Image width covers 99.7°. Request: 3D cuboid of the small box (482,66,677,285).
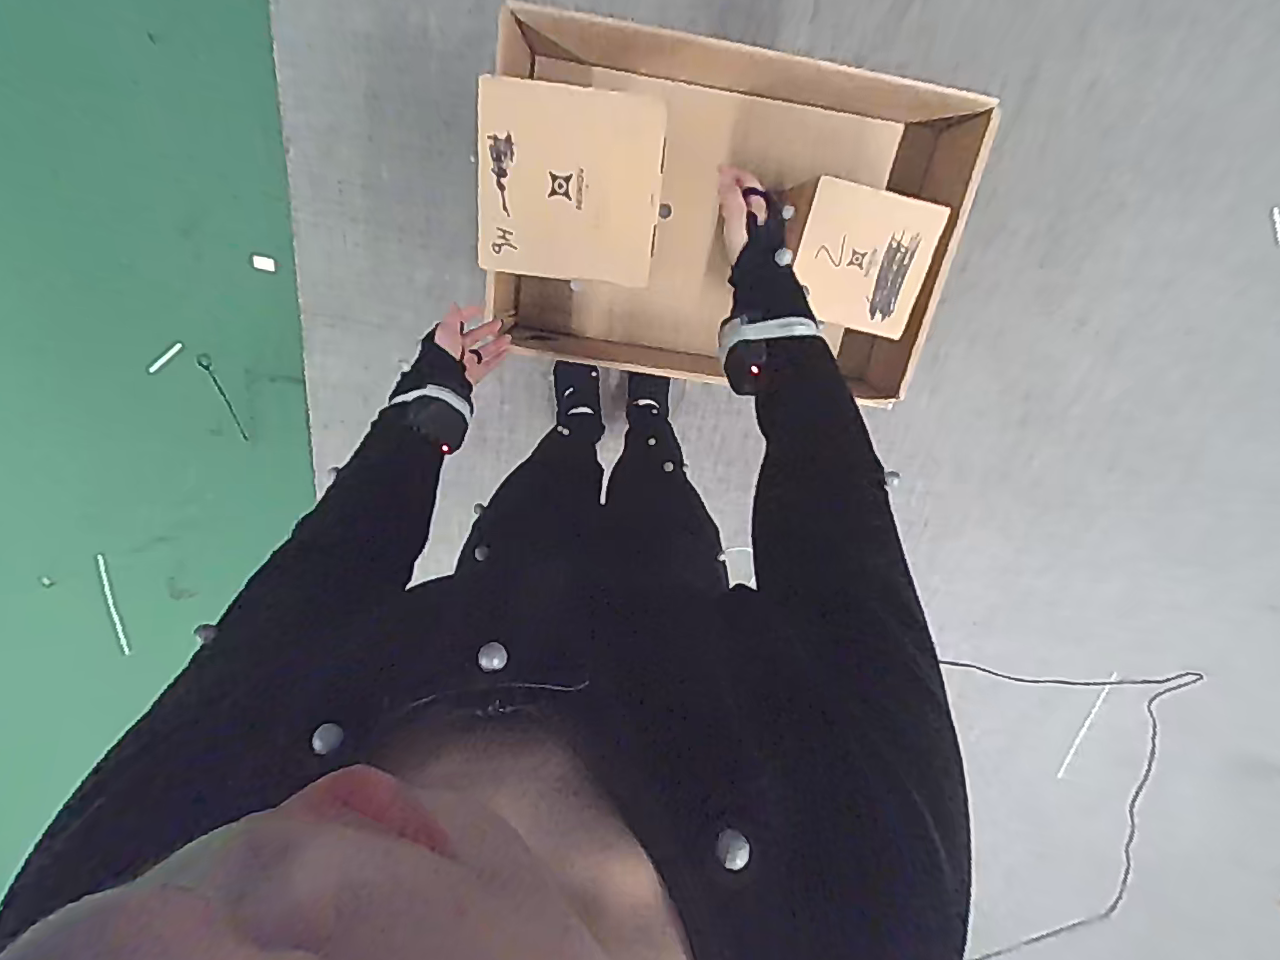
[{"bbox_3d":[-0.063,-0.314,0.587,0.179,0.176,0.168,6,112,-3],"label":"small box"}]
